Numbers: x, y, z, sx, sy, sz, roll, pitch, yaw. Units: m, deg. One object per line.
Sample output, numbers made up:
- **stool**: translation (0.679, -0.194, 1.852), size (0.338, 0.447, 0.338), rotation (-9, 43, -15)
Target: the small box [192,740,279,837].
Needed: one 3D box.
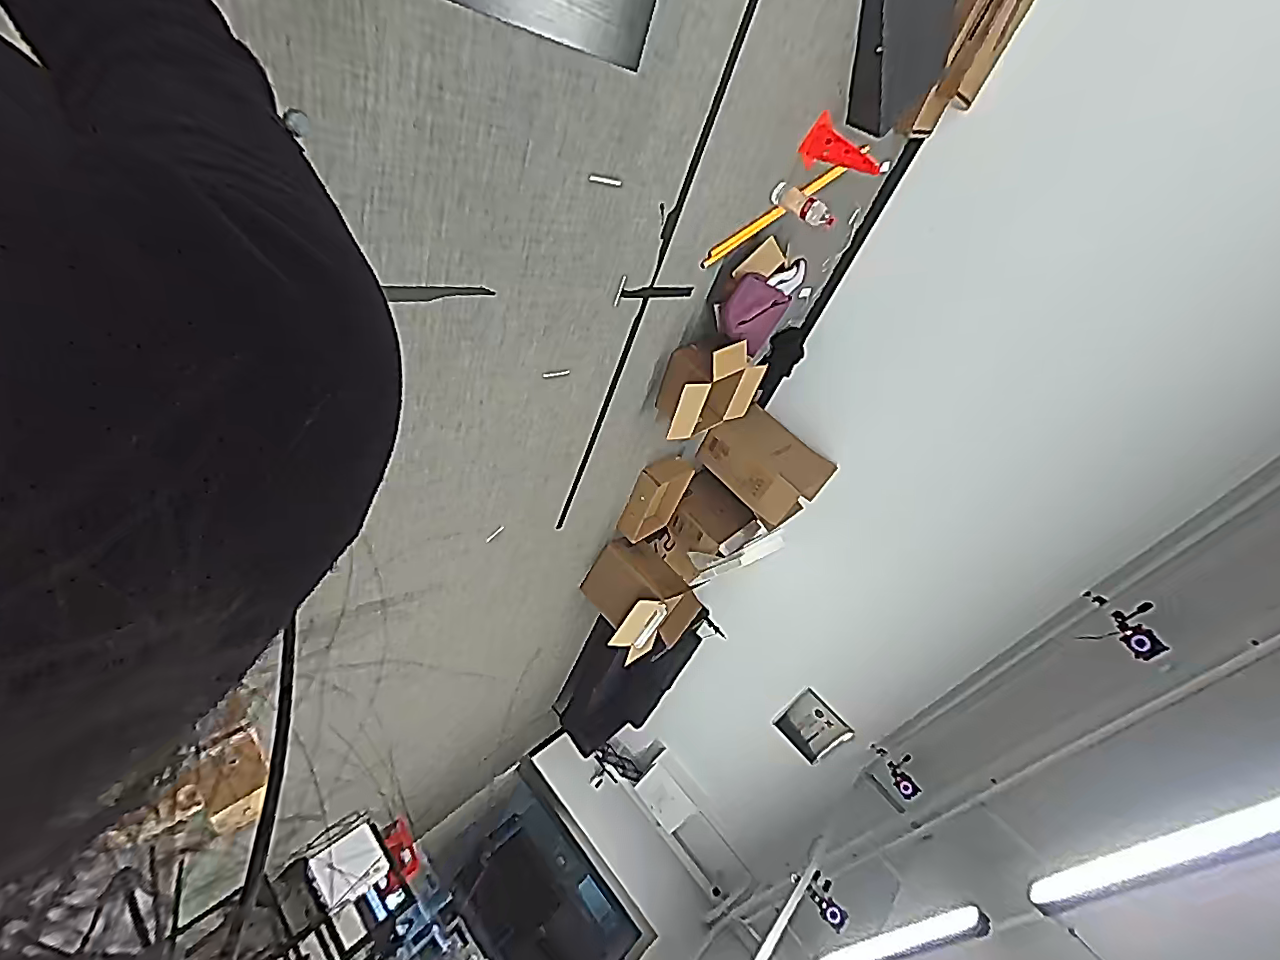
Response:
- **small box**: translation (-1.259, 0.954, 1.686), size (0.168, 0.176, 0.179), rotation (-25, 145, -45)
